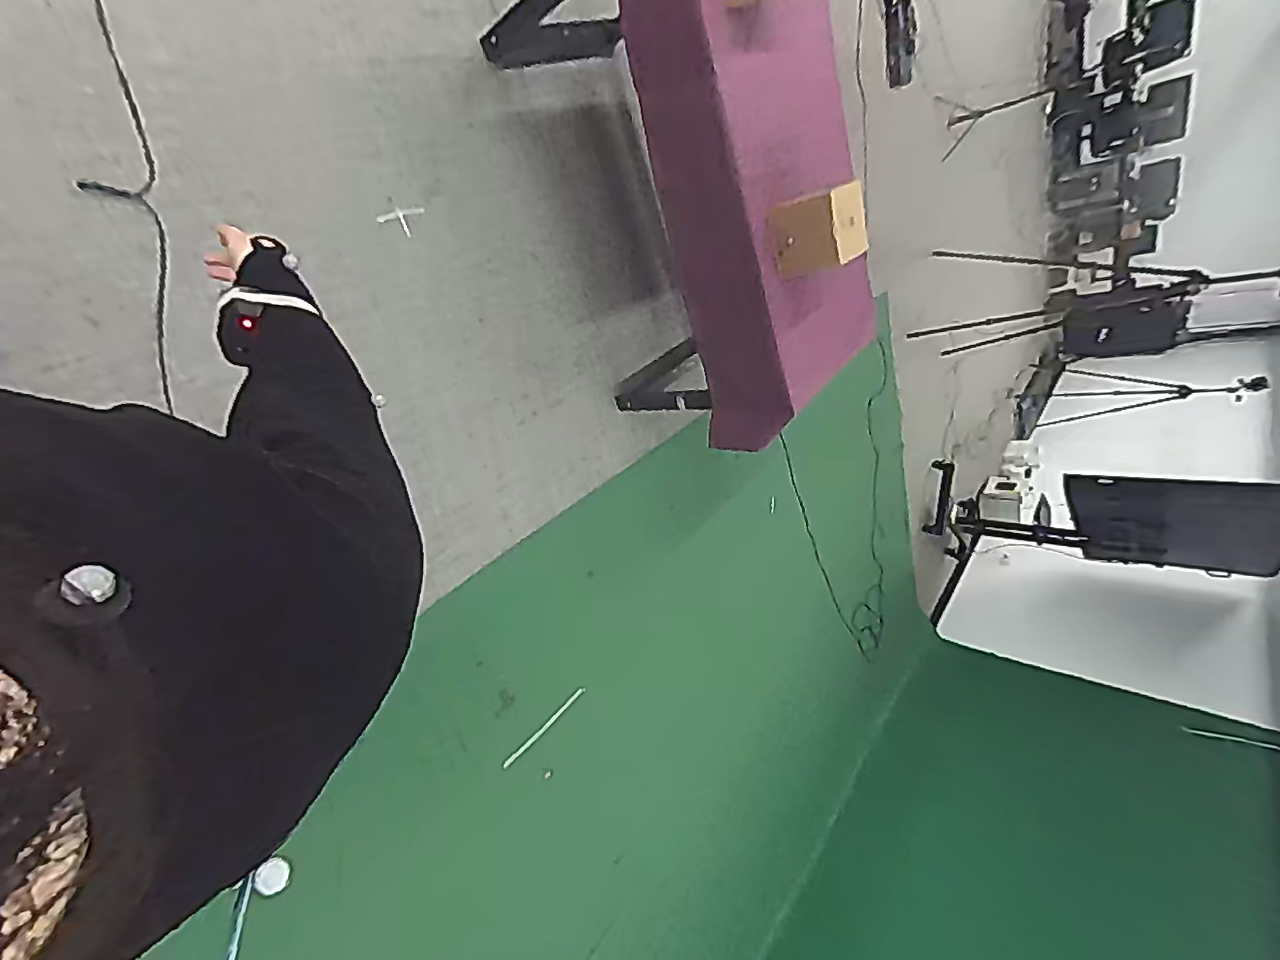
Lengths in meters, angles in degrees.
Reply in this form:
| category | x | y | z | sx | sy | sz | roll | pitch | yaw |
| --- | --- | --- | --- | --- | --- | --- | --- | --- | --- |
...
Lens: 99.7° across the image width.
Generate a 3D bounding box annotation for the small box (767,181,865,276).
| category | x | y | z | sx | sy | sz | roll | pitch | yaw |
| --- | --- | --- | --- | --- | --- | --- | --- | --- | --- |
| small box | 0.444 | -0.630 | 1.361 | 0.179 | 0.176 | 0.168 | -38 | 119 | -36 |
